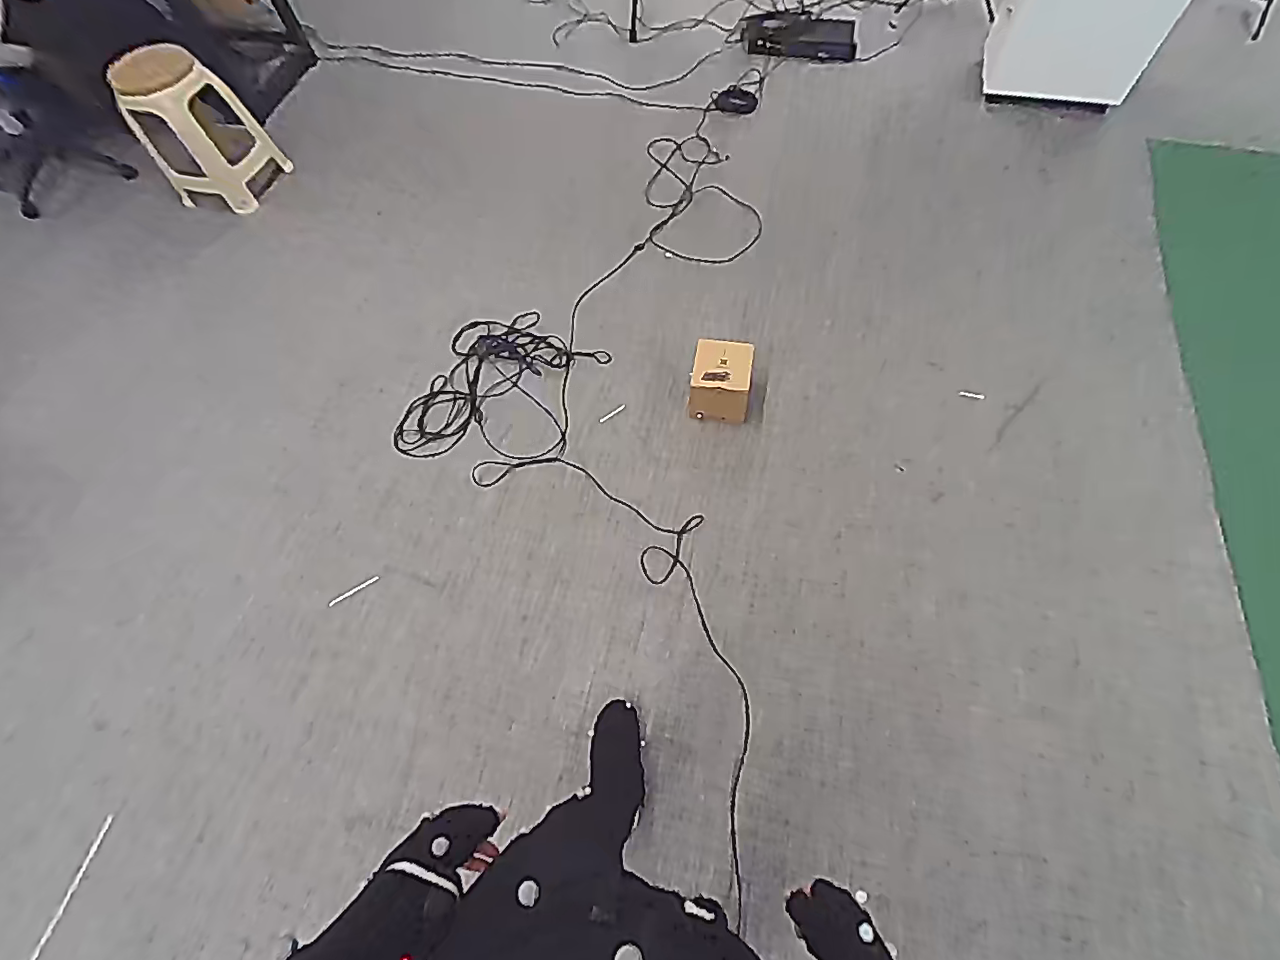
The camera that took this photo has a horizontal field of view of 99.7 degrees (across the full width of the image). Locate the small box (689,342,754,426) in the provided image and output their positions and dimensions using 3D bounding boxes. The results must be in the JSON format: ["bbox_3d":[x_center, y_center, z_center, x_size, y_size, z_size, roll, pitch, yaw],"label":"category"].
[{"bbox_3d":[0.241,-0.282,1.612,0.168,0.176,0.179,8,63,8],"label":"small box"}]
